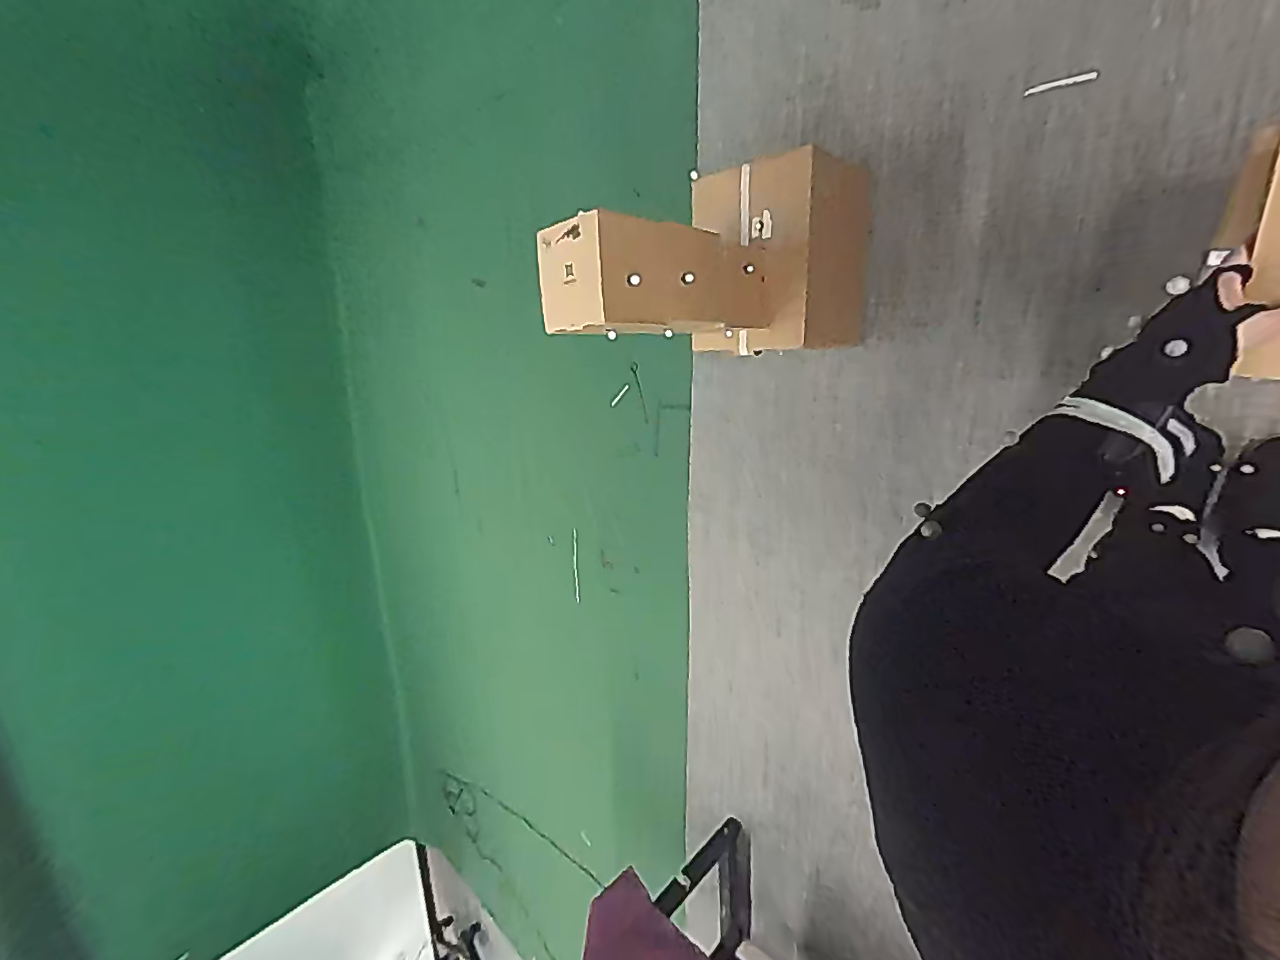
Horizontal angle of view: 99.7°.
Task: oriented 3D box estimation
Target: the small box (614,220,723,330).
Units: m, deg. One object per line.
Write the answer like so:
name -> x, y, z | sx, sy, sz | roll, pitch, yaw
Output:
small box -> 0.053, -0.399, 1.083 | 0.168, 0.176, 0.179 | 5, 104, 43

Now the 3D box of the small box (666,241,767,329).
small box -> 0.166, -0.424, 1.199 | 0.179, 0.176, 0.168 | 11, 108, 44

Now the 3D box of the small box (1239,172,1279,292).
small box -> 0.810, -0.301, 0.595 | 0.168, 0.176, 0.179 | 20, 113, 40

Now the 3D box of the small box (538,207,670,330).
small box -> -0.060, -0.366, 0.967 | 0.168, 0.176, 0.179 | 8, 107, 43

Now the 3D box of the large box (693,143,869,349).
large box -> 0.345, -0.536, 1.340 | 0.320, 0.320, 0.408 | 12, 108, 42
